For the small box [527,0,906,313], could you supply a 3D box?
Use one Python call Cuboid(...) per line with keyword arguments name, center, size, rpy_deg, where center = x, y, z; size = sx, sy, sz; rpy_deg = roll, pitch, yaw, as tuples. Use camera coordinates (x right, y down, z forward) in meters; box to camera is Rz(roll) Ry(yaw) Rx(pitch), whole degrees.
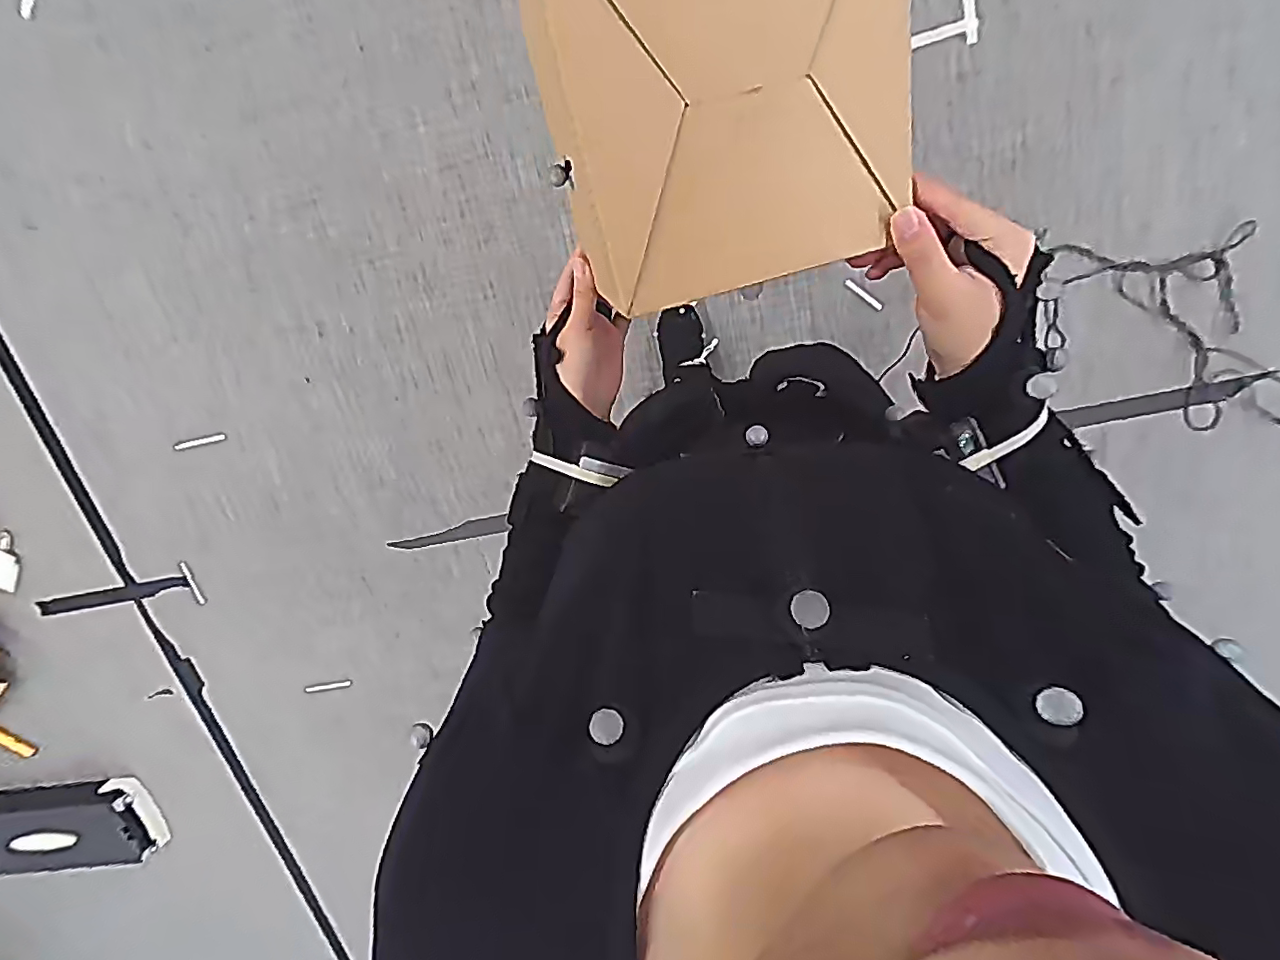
Cuboid(name="small box", center=(0.038, -0.217, 0.329), size=(0.168, 0.176, 0.179), rpy_deg=(-16, 116, -3))
